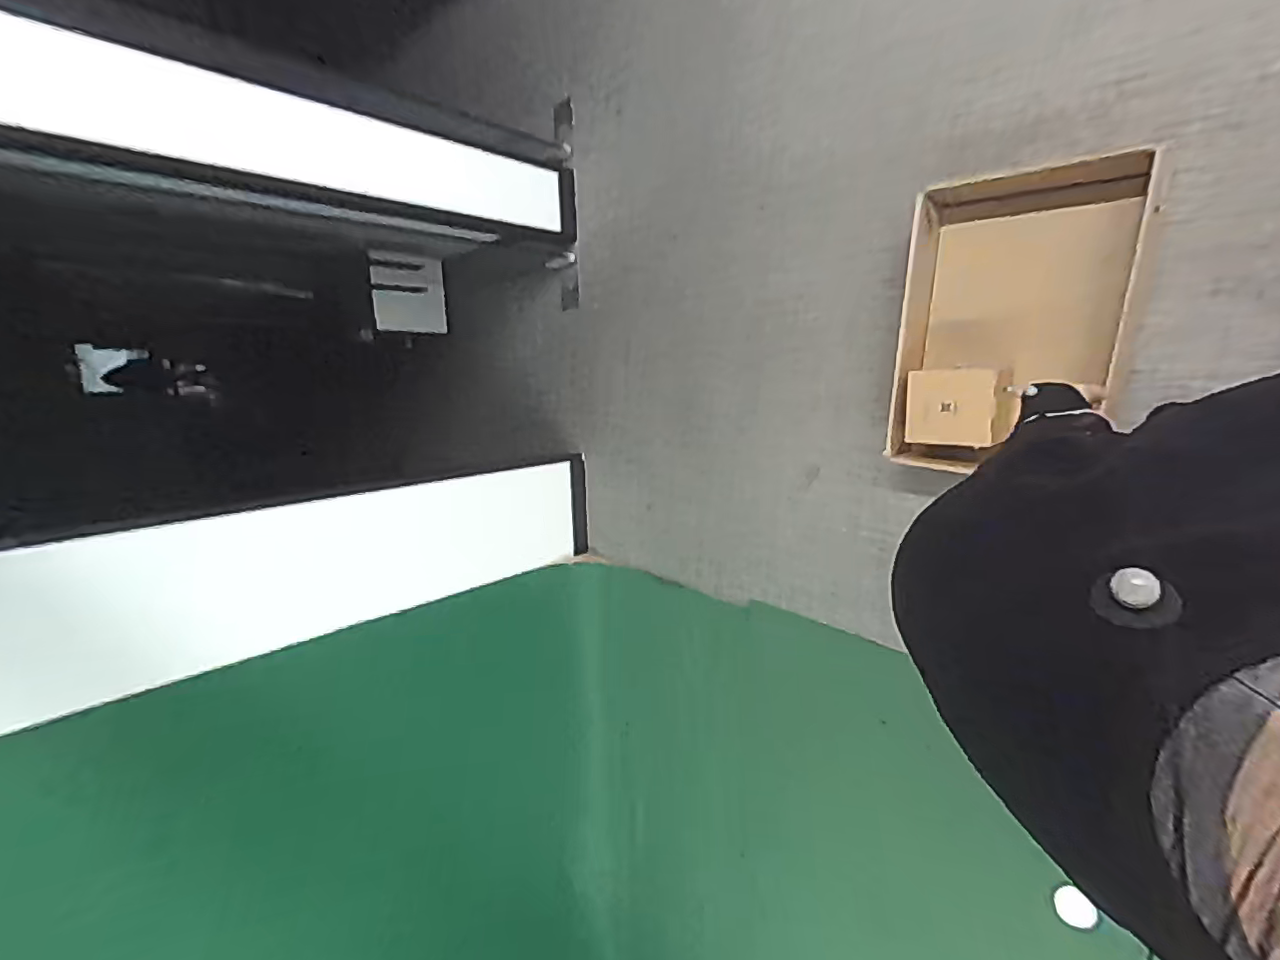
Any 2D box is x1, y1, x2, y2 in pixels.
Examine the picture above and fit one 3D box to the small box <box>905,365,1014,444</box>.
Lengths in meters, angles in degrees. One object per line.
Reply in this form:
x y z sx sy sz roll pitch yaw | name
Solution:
0.737 -0.178 1.244 0.179 0.176 0.168 10 105 45 | small box
